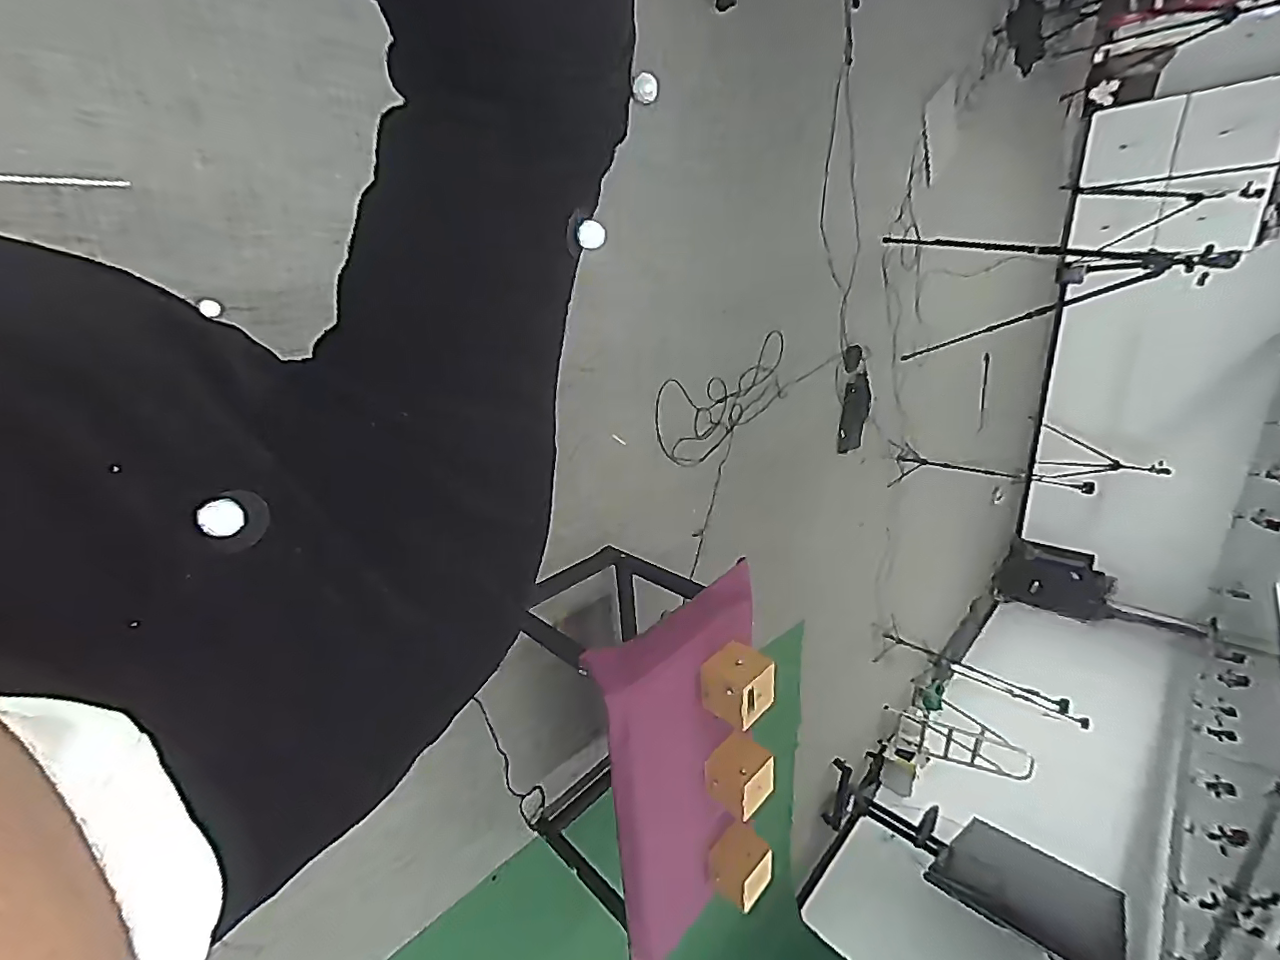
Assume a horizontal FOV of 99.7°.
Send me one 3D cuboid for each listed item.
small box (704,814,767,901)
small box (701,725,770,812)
[{"bbox_3d":[0.362,1.418,2.046,0.179,0.176,0.168,-20,115,-41],"label":"small box"},{"bbox_3d":[0.334,1.003,1.900,0.179,0.176,0.168,-22,117,-40],"label":"small box"}]
